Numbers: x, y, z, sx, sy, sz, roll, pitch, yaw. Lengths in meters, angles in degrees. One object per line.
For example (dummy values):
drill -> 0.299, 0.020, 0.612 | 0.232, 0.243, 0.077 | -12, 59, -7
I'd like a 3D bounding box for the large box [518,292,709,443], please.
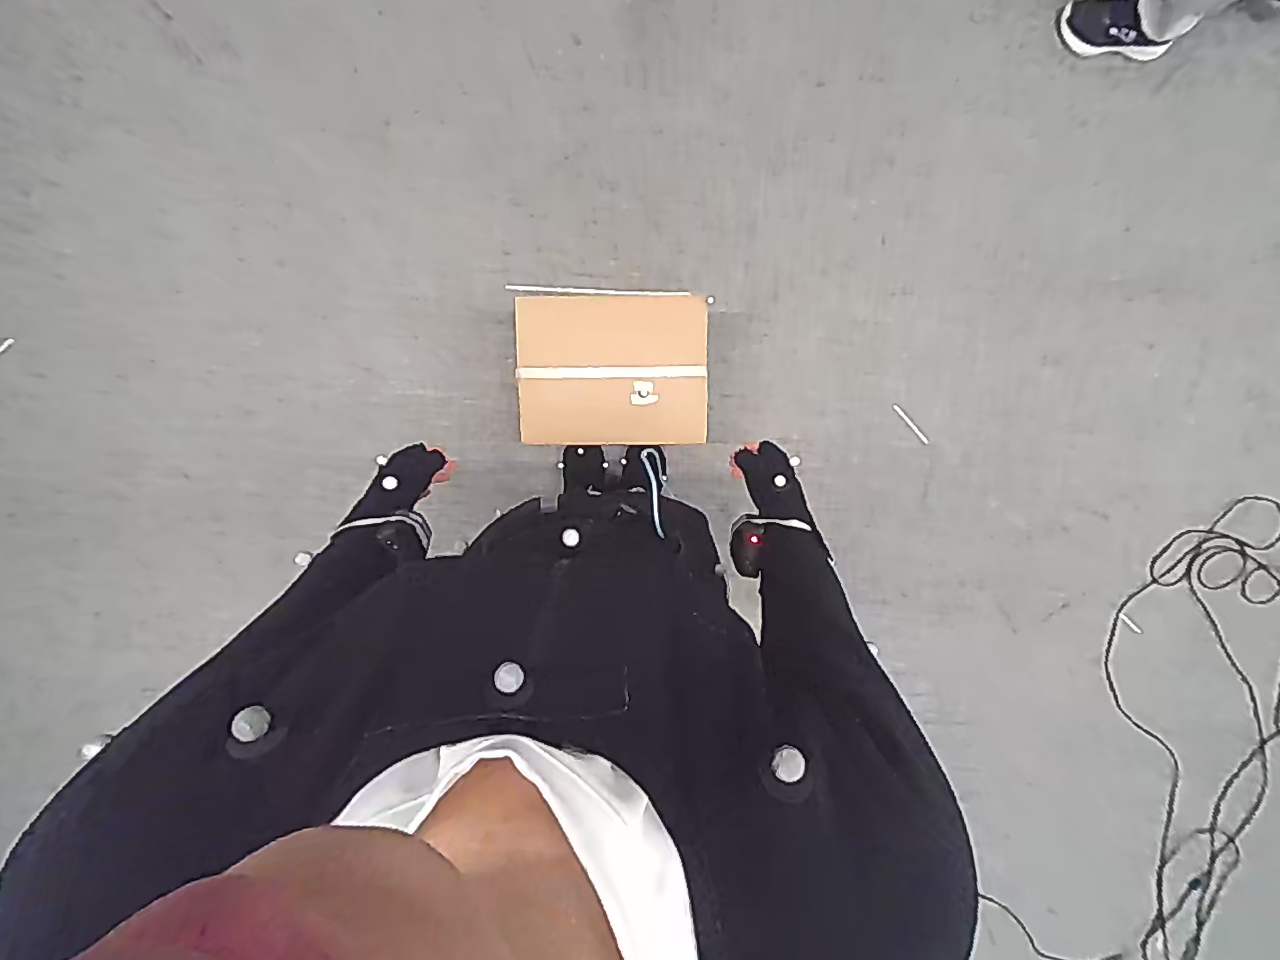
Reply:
large box -> -0.057, -0.260, 1.294 | 0.408, 0.320, 0.320 | 0, 100, -1
